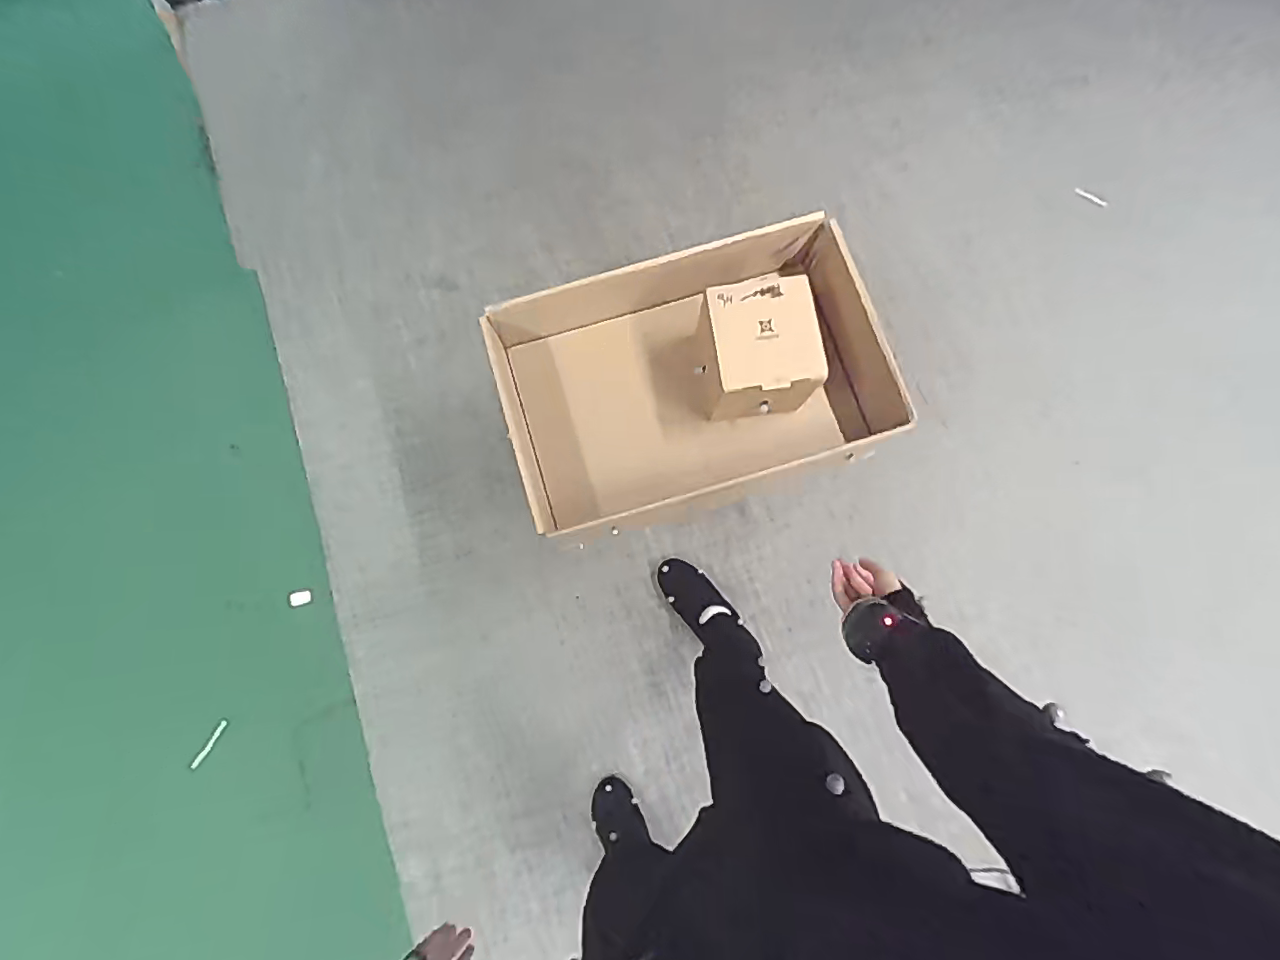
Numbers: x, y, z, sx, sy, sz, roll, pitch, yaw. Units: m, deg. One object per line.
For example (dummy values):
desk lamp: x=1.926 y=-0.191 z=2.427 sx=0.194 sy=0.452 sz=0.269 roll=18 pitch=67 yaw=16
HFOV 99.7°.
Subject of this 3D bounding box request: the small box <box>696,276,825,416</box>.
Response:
small box: x=0.192 y=-0.213 z=0.910 sx=0.168 sy=0.176 sz=0.179 roll=-7 pitch=80 yaw=-2
